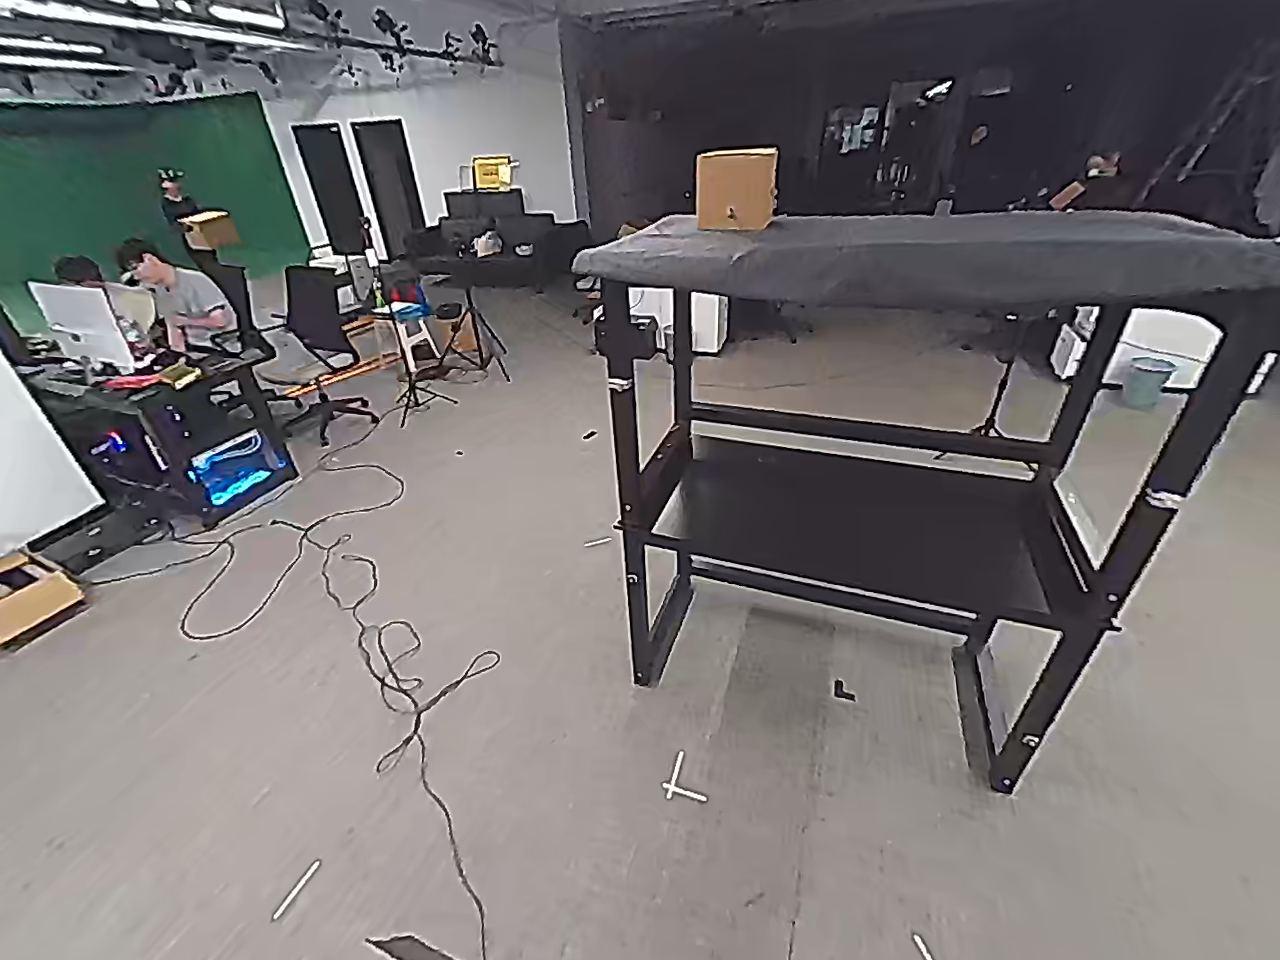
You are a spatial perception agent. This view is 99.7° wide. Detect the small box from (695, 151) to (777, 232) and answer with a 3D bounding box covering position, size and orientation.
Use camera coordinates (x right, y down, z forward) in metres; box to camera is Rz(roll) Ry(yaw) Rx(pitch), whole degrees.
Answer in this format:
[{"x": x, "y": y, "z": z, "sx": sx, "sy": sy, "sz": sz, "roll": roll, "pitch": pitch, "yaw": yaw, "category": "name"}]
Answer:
[{"x": 0.246, "y": -0.743, "z": 1.392, "sx": 0.179, "sy": 0.176, "sz": 0.168, "roll": 9, "pitch": 35, "yaw": 16, "category": "small box"}]
